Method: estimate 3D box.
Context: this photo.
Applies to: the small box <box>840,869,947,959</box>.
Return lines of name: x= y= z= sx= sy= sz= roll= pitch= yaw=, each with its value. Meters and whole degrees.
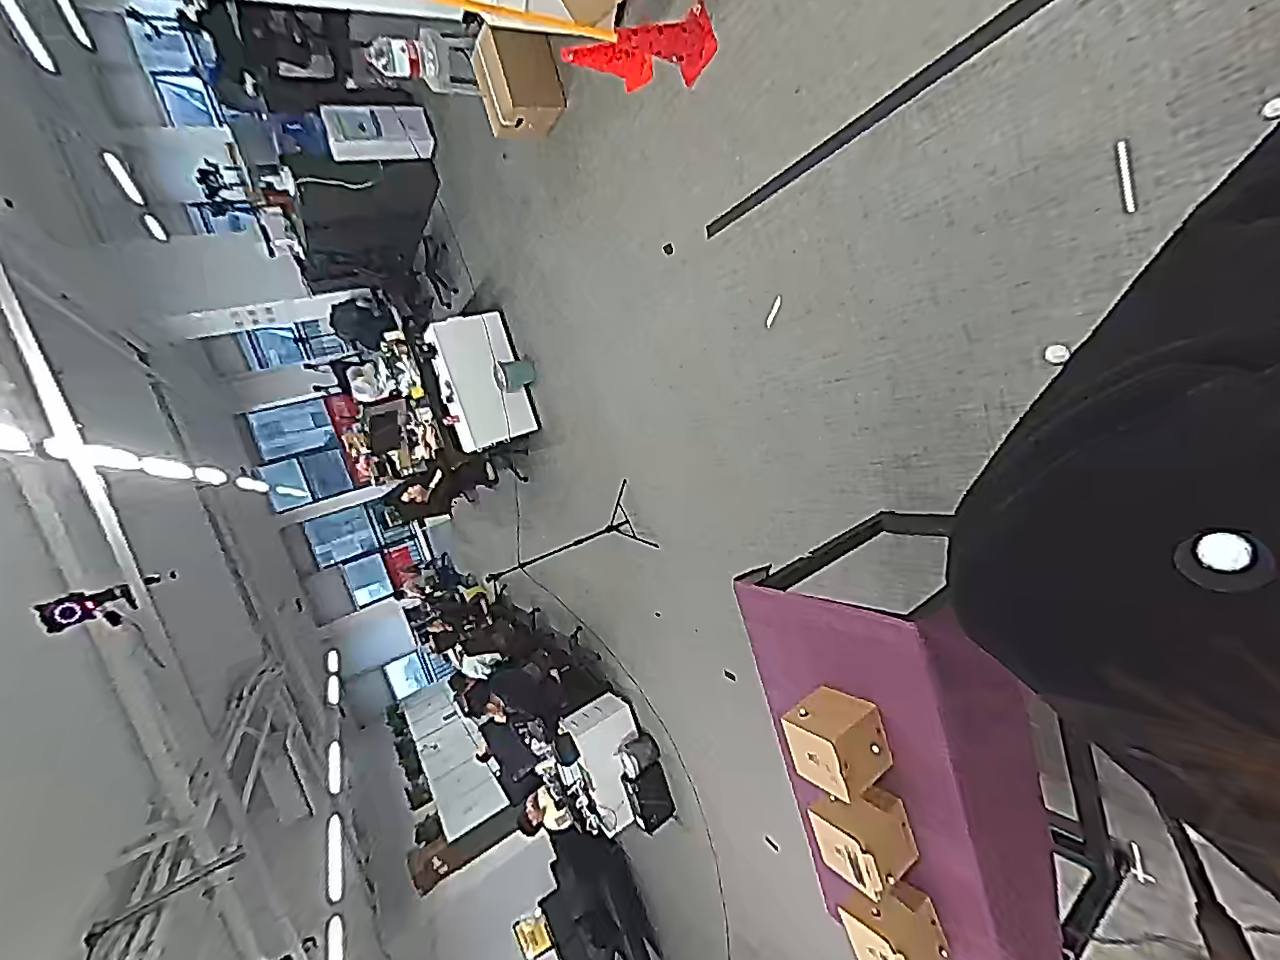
small box: x=0.671 y=1.179 z=1.421 sx=0.179 sy=0.176 sz=0.168 roll=-22 pitch=89 yaw=63

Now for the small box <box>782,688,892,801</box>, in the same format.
small box: x=0.496 y=0.652 z=1.361 sx=0.179 sy=0.176 sz=0.168 roll=-6 pitch=105 yaw=61
